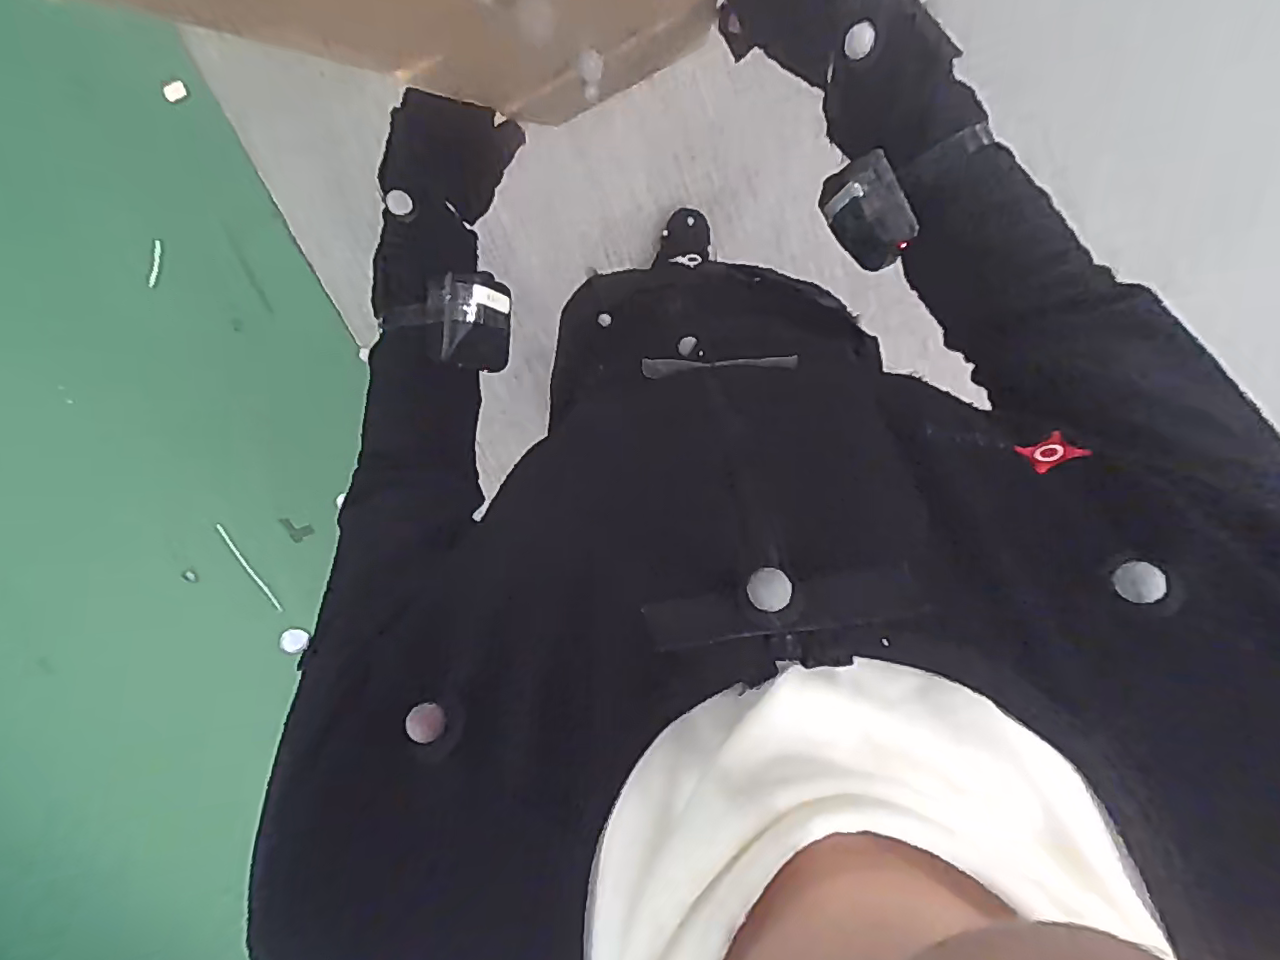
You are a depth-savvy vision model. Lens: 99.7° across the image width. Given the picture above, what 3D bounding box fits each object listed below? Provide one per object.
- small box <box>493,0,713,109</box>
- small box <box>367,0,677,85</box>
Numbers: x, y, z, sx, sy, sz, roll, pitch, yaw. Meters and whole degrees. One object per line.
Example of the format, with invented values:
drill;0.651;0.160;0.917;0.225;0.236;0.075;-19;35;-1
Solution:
small box;-0.051;-0.408;0.397;0.168;0.176;0.179;-19;118;16
small box;-0.064;-0.325;0.253;0.168;0.176;0.179;-18;118;15
